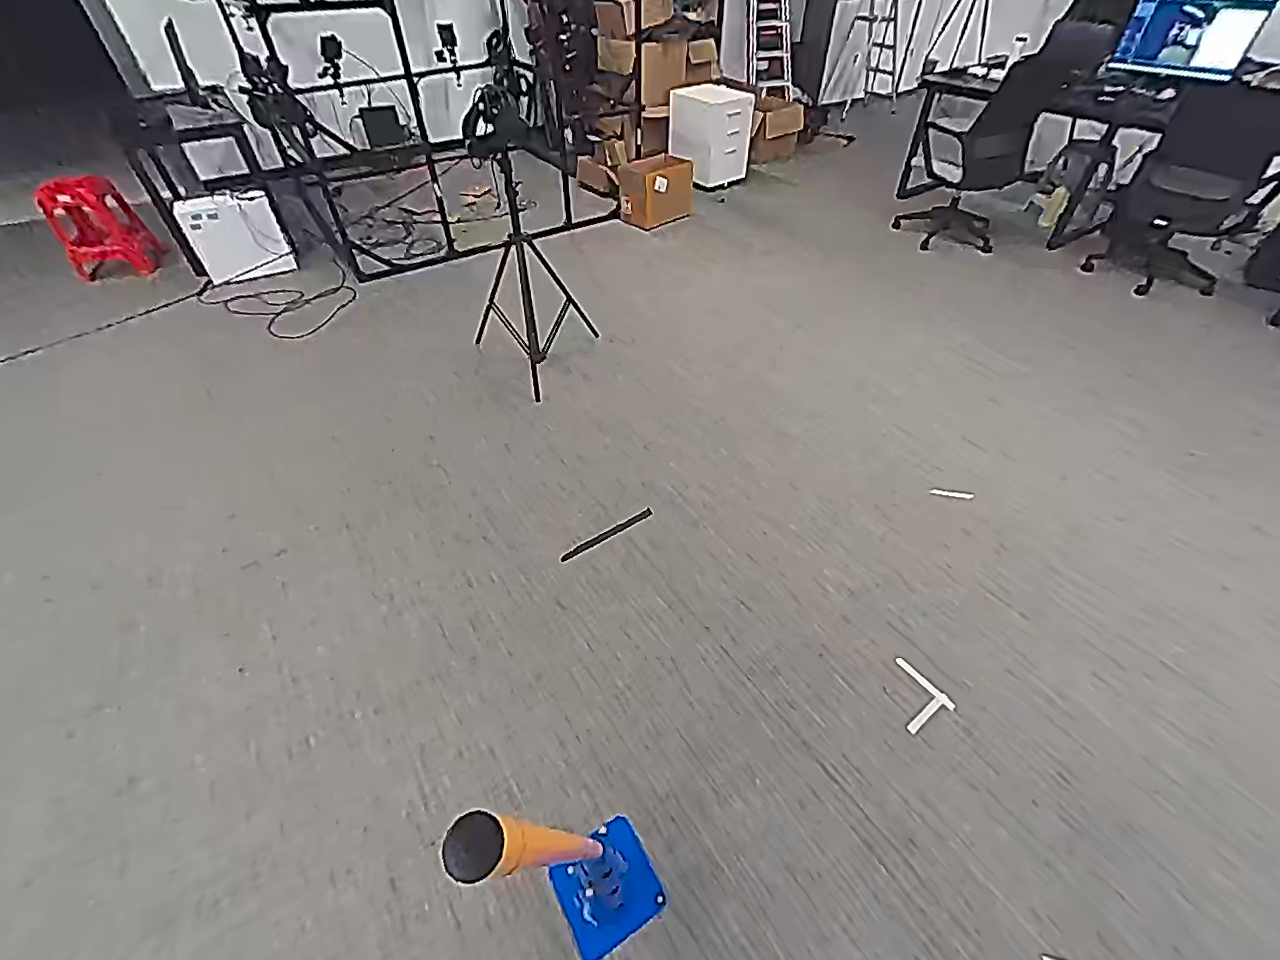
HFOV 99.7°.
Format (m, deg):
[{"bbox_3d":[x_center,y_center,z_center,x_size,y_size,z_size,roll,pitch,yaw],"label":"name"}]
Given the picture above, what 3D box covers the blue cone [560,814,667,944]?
[{"bbox_3d":[-0.062,0.738,1.048,0.192,0.380,0.193,-23,50,-21],"label":"blue cone"}]
